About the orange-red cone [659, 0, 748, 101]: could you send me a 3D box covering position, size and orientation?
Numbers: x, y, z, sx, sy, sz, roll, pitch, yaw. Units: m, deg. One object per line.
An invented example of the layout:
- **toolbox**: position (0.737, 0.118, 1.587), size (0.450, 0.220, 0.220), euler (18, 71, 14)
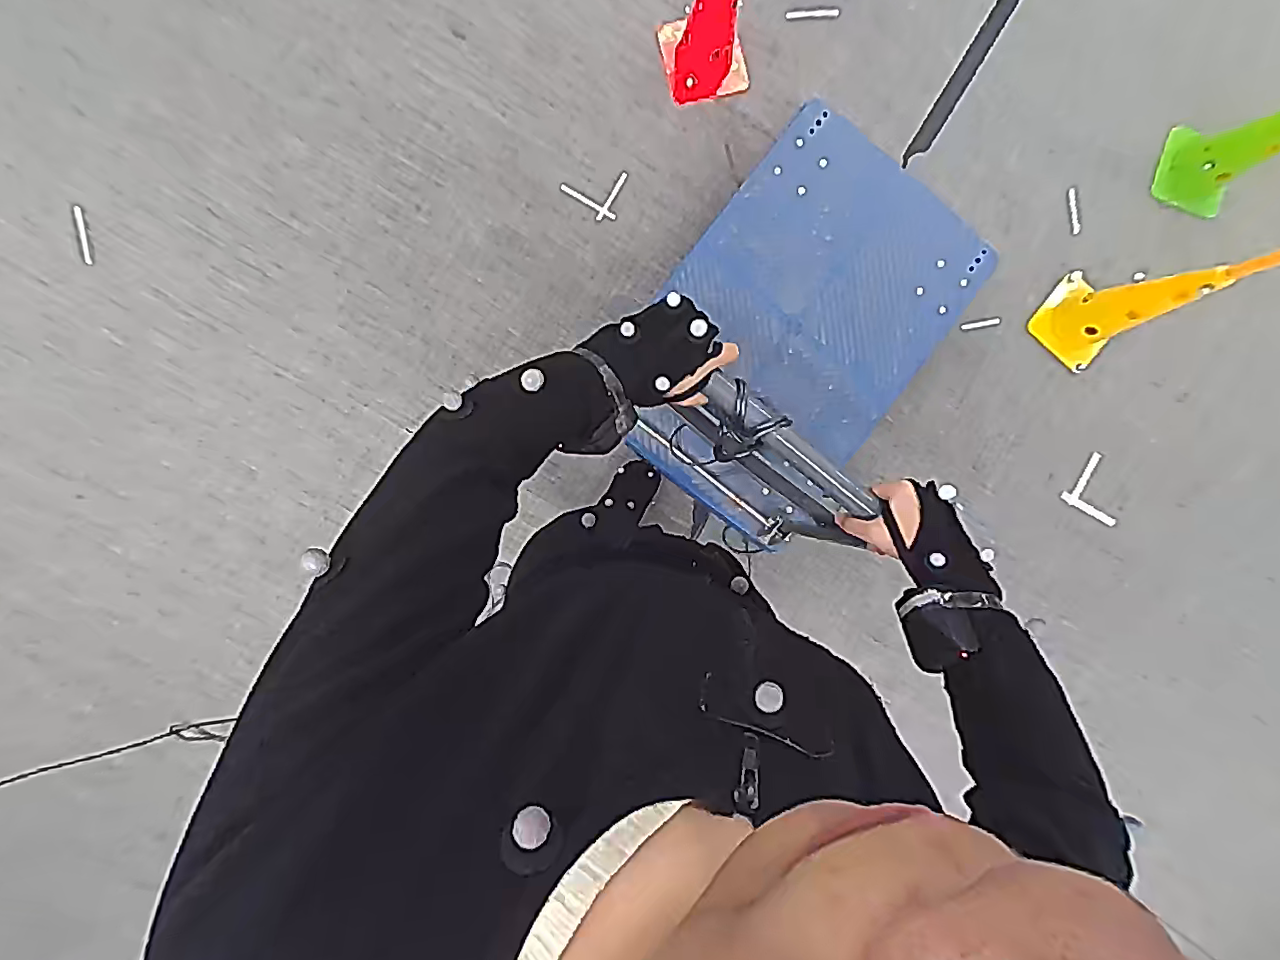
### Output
- **orange-red cone**: position (0.173, -1.046, 1.171), size (0.199, 0.360, 0.198), euler (-14, 93, -5)

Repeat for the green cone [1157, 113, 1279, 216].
- **green cone**: position (1.498, -0.815, 1.267), size (0.200, 0.368, 0.202), euler (17, 92, -4)
